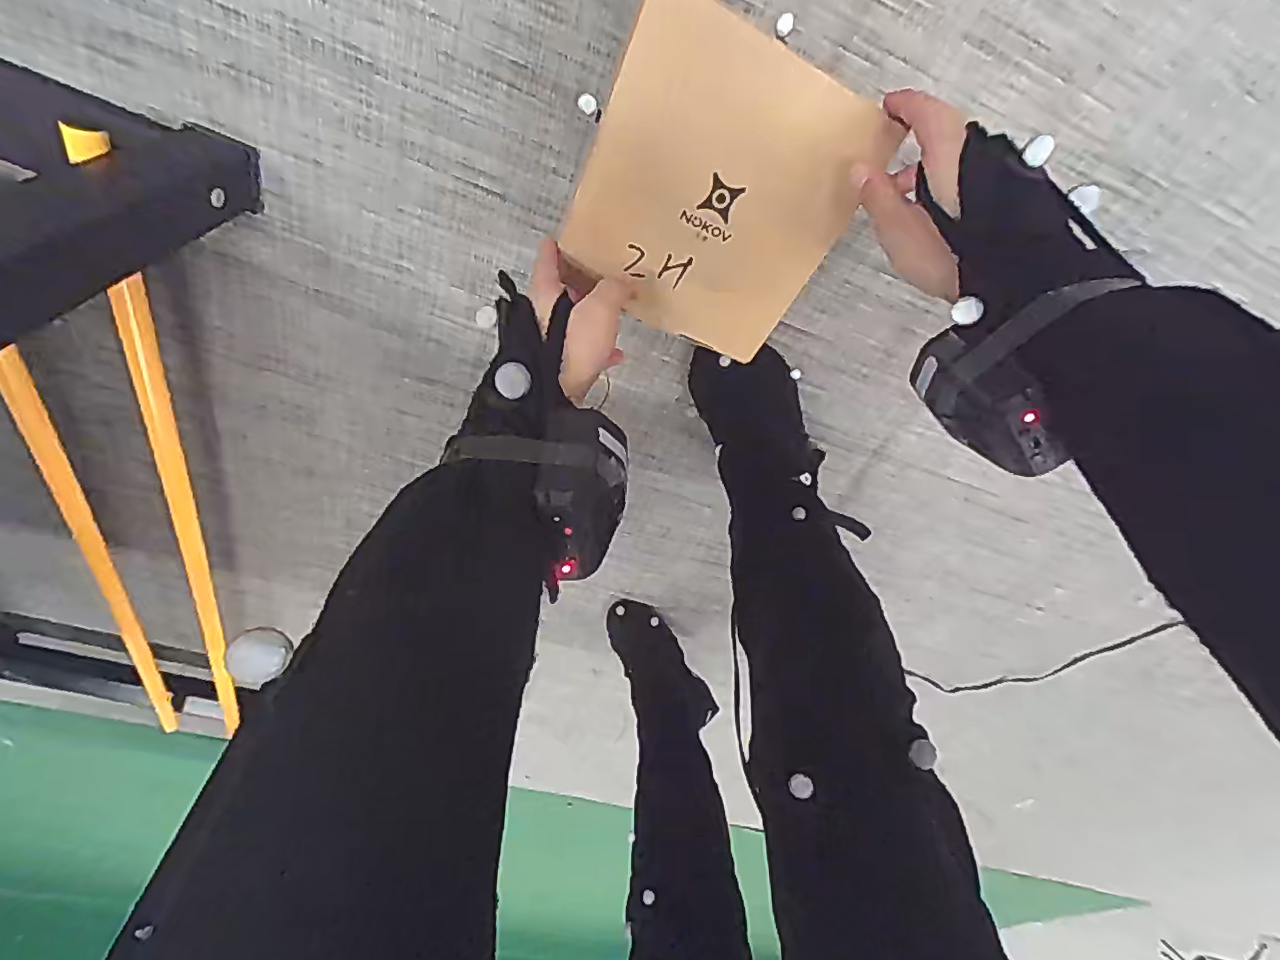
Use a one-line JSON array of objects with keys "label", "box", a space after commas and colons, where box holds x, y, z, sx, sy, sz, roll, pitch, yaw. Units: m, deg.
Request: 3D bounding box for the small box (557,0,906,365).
[{"label": "small box", "box": [0.049, -0.226, 0.406, 0.168, 0.176, 0.179, 20, 130, -16]}]
